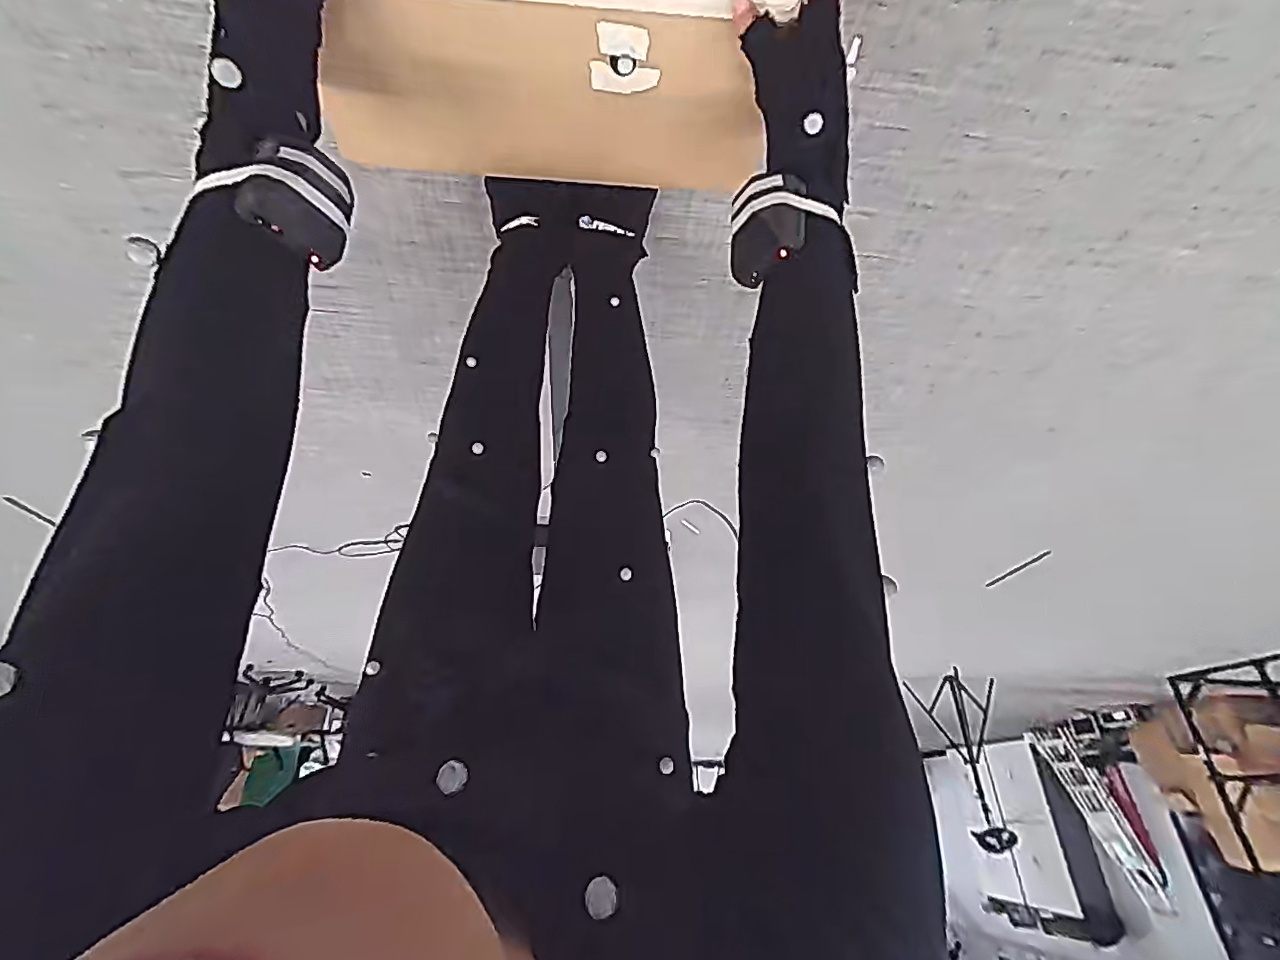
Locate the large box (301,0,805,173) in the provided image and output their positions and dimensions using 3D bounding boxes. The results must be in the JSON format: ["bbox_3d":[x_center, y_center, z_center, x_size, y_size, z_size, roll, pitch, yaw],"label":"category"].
[{"bbox_3d":[-0.069,-0.518,0.481,0.408,0.320,0.320,1,151,-4],"label":"large box"}]
